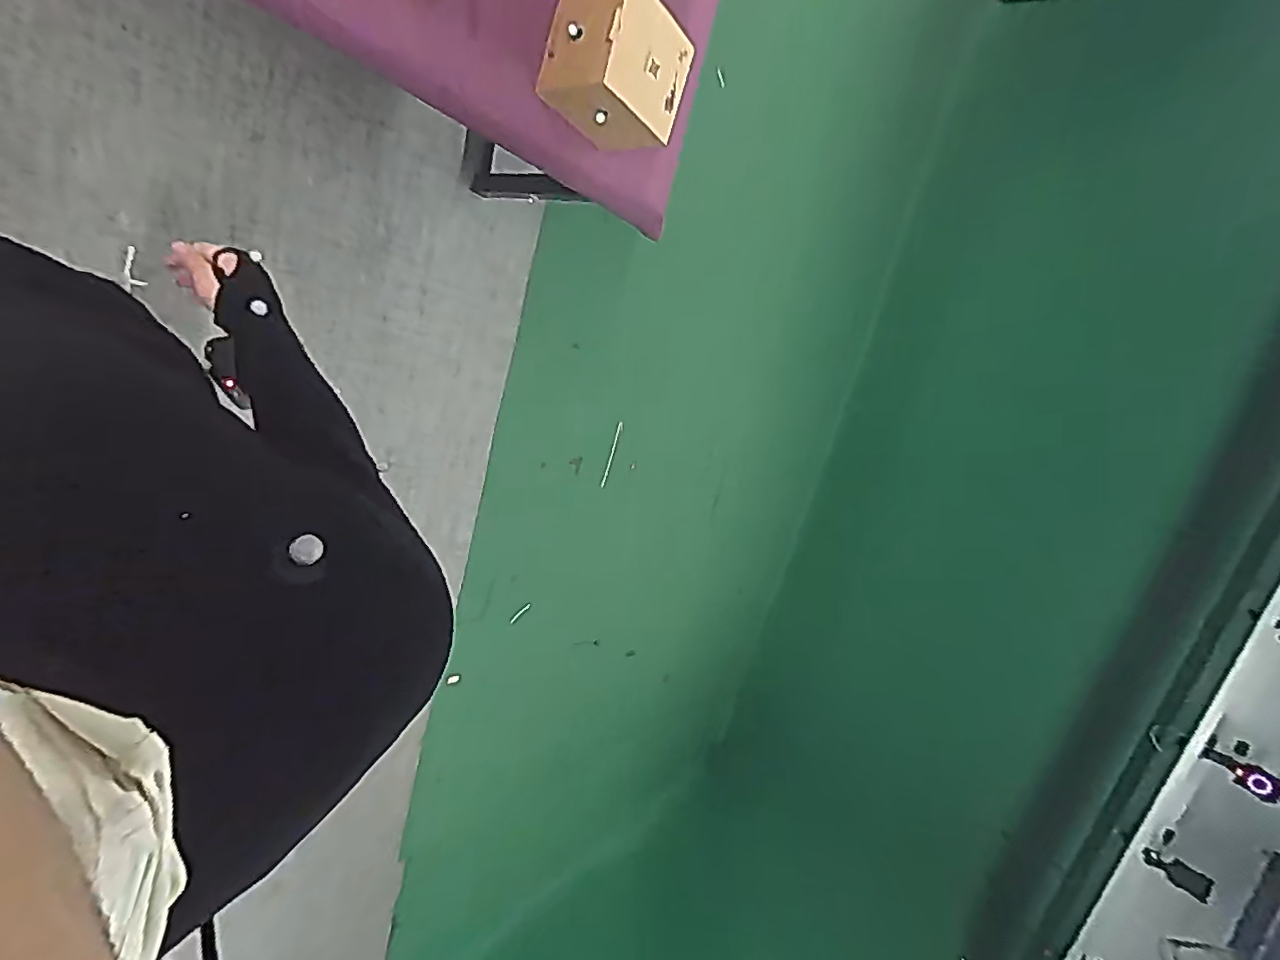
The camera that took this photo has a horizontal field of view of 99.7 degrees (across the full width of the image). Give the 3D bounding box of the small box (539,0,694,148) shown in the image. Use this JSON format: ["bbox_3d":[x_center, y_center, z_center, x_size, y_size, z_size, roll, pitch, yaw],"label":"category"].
[{"bbox_3d":[-0.043,-0.693,0.922,0.179,0.176,0.168,9,102,-51],"label":"small box"}]
